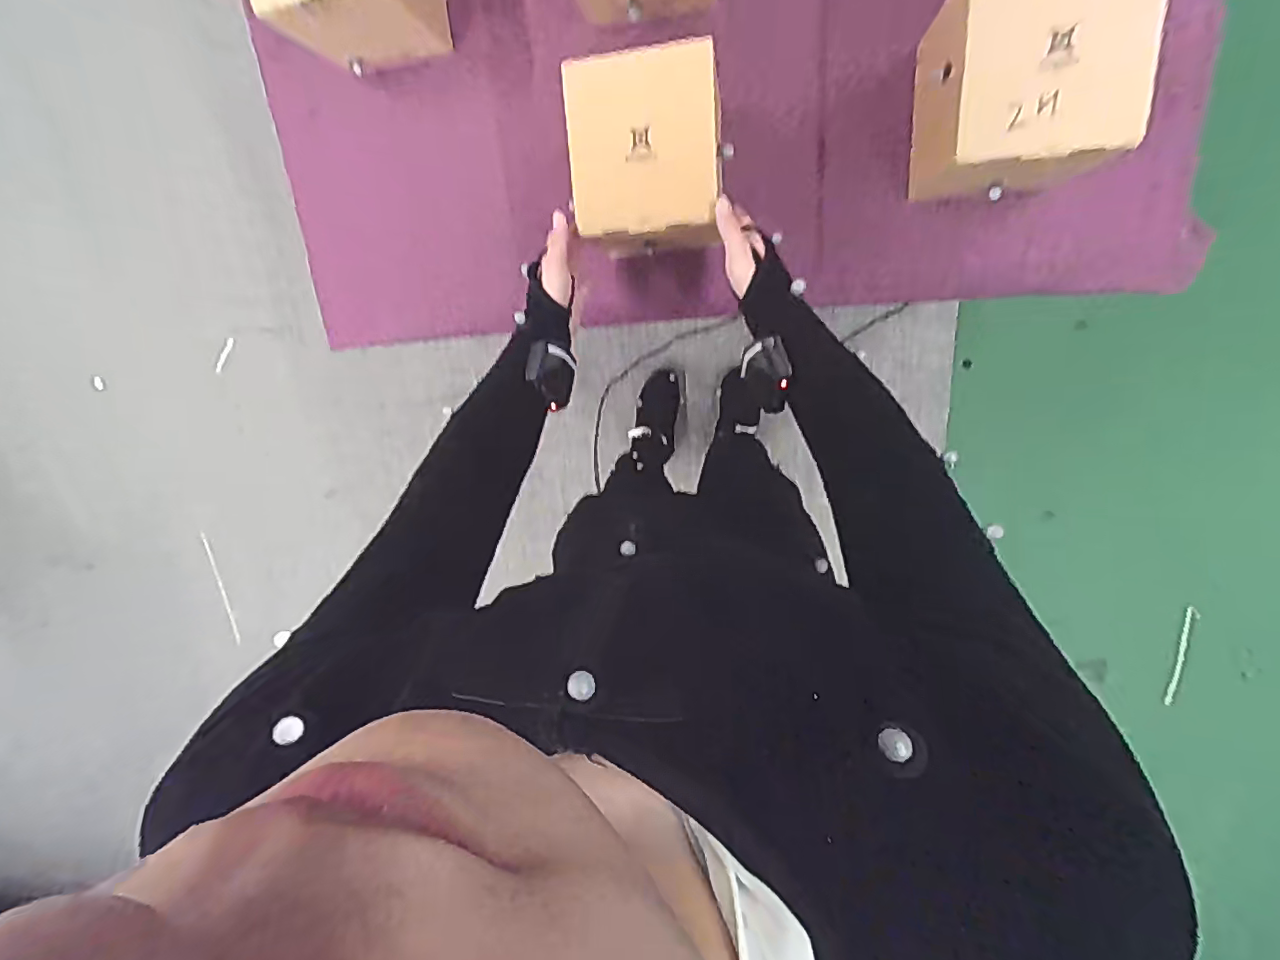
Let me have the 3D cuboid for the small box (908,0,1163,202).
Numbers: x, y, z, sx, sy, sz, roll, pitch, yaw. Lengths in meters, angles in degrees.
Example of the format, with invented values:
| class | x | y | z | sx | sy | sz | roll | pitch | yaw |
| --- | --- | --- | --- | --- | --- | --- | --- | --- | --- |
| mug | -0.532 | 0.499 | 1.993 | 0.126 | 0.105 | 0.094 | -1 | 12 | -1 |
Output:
| class | x | y | z | sx | sy | sz | roll | pitch | yaw |
| --- | --- | --- | --- | --- | --- | --- | --- | --- | --- |
| small box | 0.404 | -0.421 | 0.585 | 0.168 | 0.176 | 0.179 | 1 | 105 | 11 |

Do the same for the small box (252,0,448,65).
| class | x | y | z | sx | sy | sz | roll | pitch | yaw |
| --- | --- | --- | --- | --- | --- | --- | --- | --- | --- |
| small box | -0.357 | -0.644 | 0.660 | 0.168 | 0.176 | 0.179 | -2 | 106 | 10 |
